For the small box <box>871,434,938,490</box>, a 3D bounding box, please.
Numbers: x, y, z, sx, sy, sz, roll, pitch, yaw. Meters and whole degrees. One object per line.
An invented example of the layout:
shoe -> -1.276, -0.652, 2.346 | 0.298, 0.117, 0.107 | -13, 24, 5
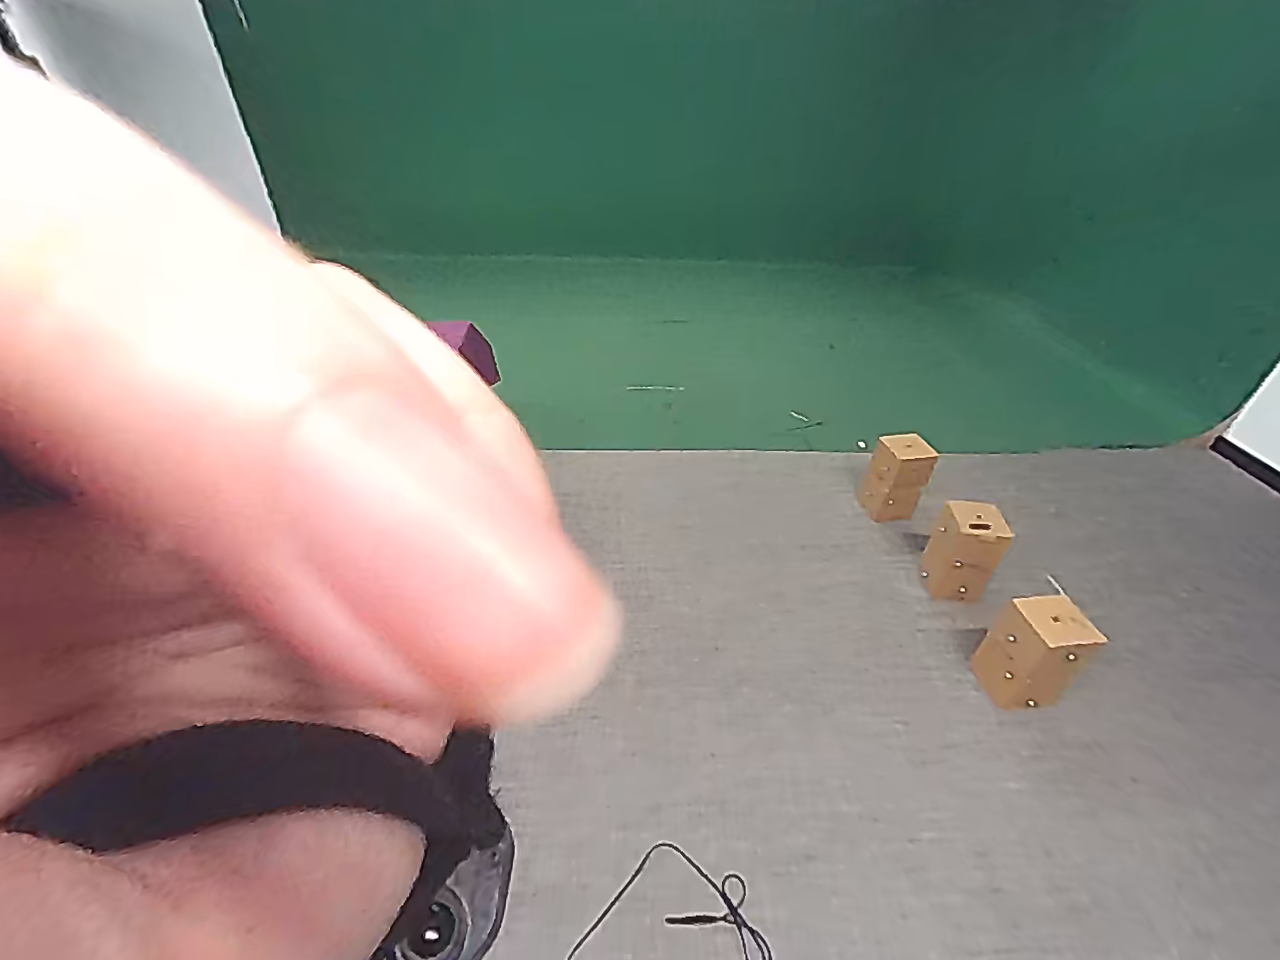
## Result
small box -> 1.079, -0.071, 2.230 | 0.179, 0.176, 0.168 | -5, 39, -10

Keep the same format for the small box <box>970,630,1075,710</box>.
small box -> 1.161, 0.579, 1.661 | 0.168, 0.176, 0.179 | -3, 39, -5

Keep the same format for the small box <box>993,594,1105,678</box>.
small box -> 1.159, 0.451, 1.556 | 0.179, 0.176, 0.168 | -3, 39, -5

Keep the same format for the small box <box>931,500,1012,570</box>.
small box -> 1.148, 0.193, 1.887 | 0.168, 0.176, 0.179 | 6, 37, 5

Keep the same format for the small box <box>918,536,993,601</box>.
small box -> 1.152, 0.324, 1.987 | 0.168, 0.176, 0.179 | 5, 38, 4
